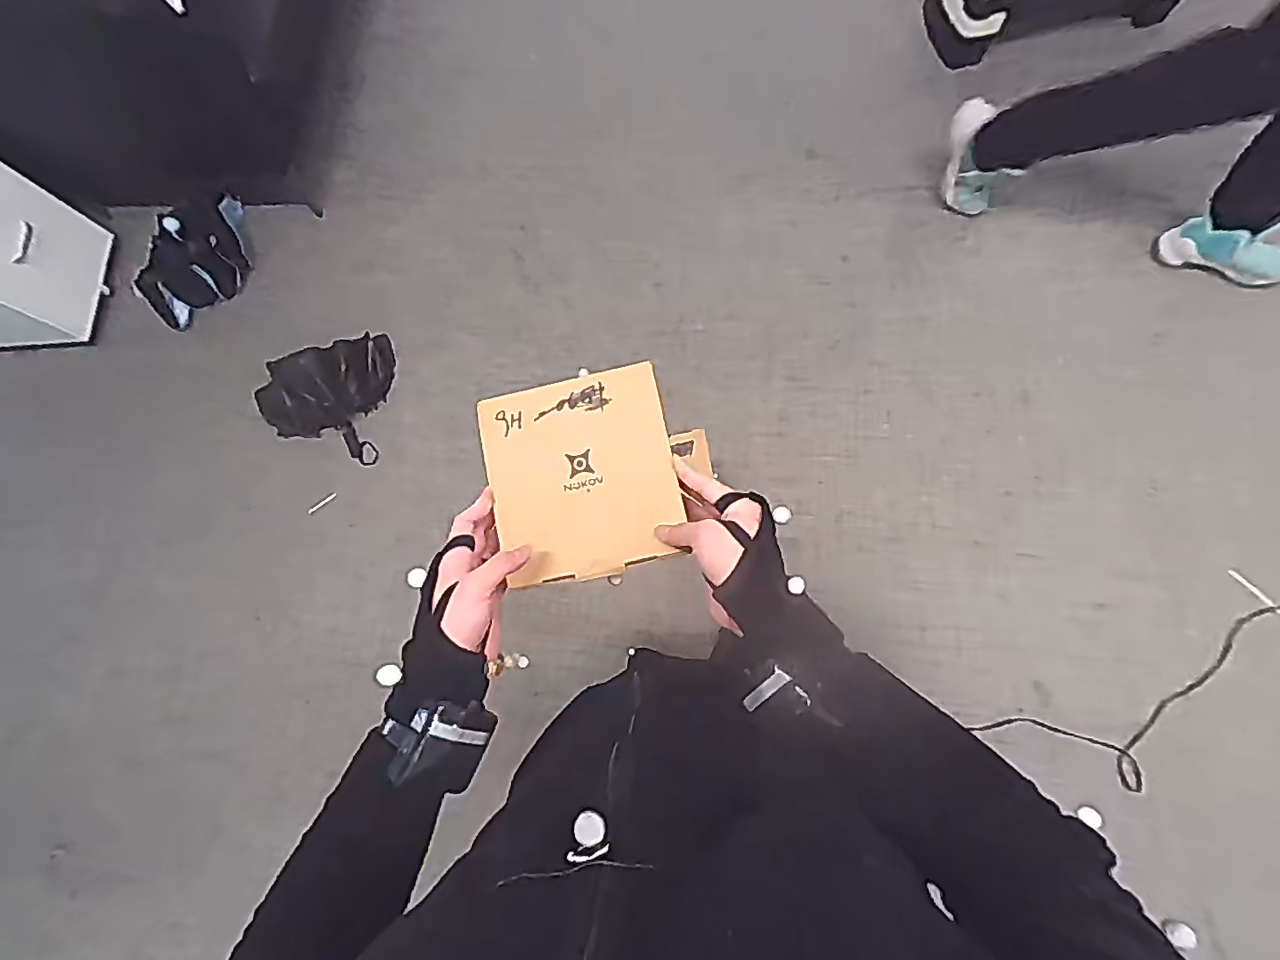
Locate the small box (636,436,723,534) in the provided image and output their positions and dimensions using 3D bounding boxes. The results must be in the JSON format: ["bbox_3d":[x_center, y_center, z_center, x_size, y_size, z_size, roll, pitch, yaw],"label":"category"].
[{"bbox_3d":[0.089,0.017,1.233,0.168,0.176,0.179,-10,77,4],"label":"small box"}]

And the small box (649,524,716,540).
[{"bbox_3d":[0.102,0.053,1.393,0.168,0.176,0.179,-11,74,4],"label":"small box"}]
